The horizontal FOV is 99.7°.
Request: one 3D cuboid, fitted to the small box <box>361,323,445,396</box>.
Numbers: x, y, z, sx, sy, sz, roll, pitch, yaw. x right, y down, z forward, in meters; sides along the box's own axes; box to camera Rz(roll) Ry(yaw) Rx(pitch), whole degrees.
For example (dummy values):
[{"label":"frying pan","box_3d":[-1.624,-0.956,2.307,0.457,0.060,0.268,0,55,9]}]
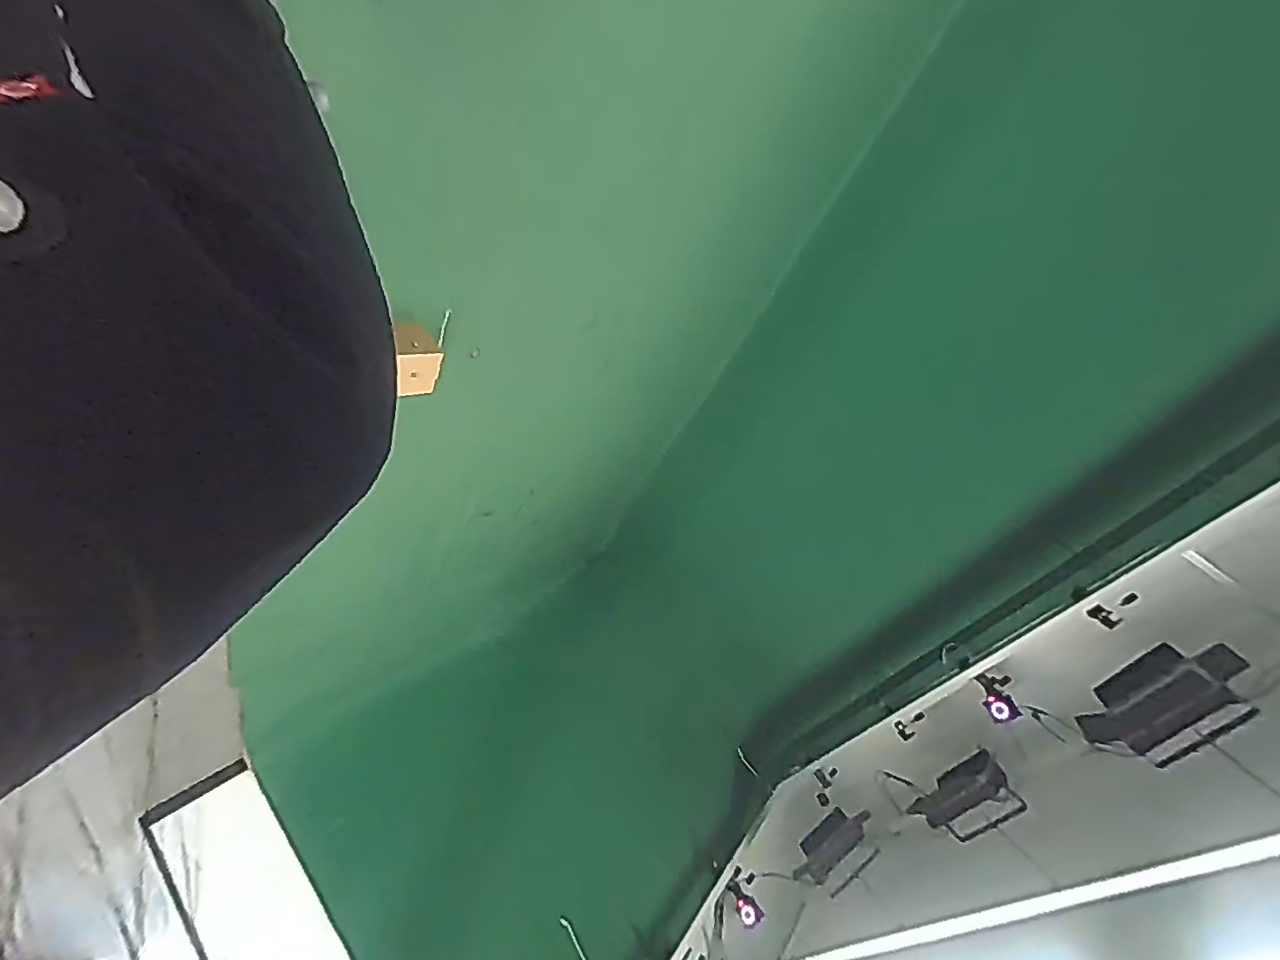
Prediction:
[{"label":"small box","box_3d":[-0.778,-0.397,1.769,0.179,0.176,0.168,-20,149,-50]}]
